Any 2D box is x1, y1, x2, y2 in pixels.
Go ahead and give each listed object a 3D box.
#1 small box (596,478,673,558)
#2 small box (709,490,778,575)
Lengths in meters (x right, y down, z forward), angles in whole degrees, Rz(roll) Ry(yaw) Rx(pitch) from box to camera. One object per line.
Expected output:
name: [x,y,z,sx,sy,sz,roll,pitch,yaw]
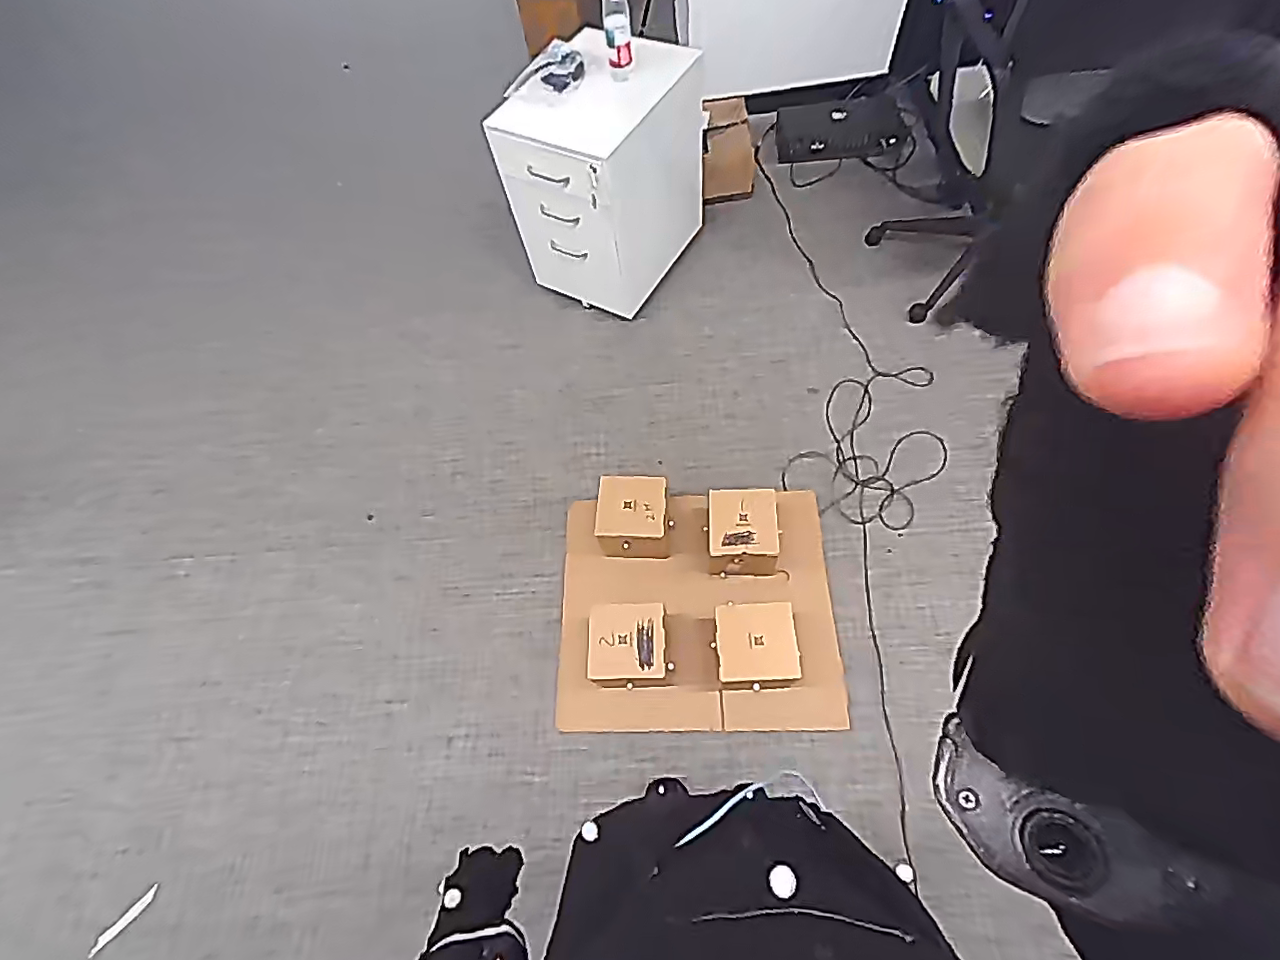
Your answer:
small box: [-0.009,0.105,1.441,0.179,0.176,0.168,1,64,8]
small box: [0.265,0.140,1.393,0.168,0.176,0.179,-1,63,8]
